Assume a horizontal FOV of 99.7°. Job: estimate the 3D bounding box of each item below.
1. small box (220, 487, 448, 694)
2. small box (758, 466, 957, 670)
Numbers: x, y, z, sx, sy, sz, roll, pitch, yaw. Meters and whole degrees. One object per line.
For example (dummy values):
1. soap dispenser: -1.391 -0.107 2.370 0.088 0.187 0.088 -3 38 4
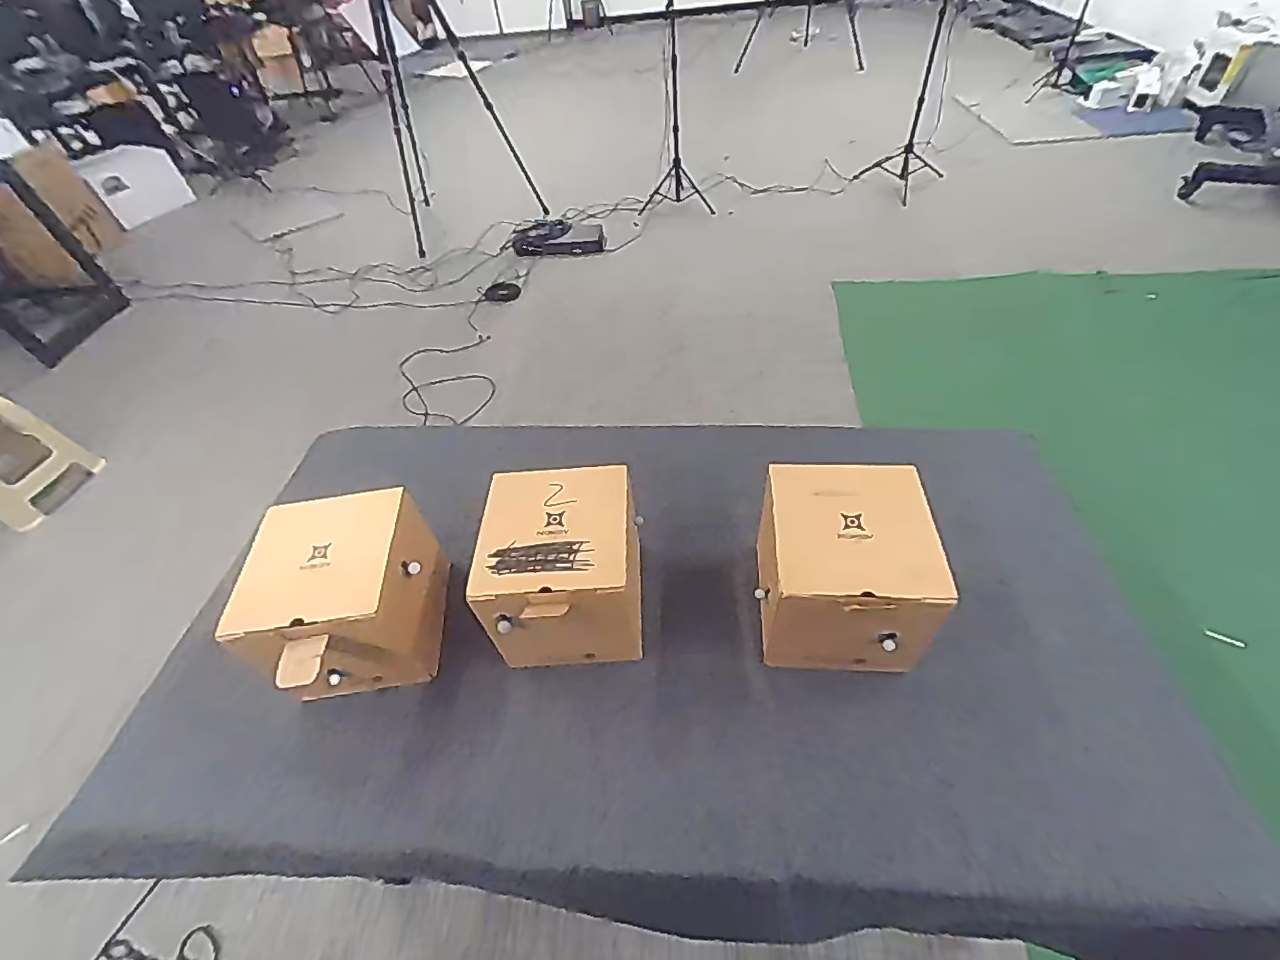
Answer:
1. small box: -0.345 0.135 0.657 0.168 0.176 0.179 -8 48 -2
2. small box: 0.230 0.103 0.626 0.168 0.176 0.179 1 47 6
